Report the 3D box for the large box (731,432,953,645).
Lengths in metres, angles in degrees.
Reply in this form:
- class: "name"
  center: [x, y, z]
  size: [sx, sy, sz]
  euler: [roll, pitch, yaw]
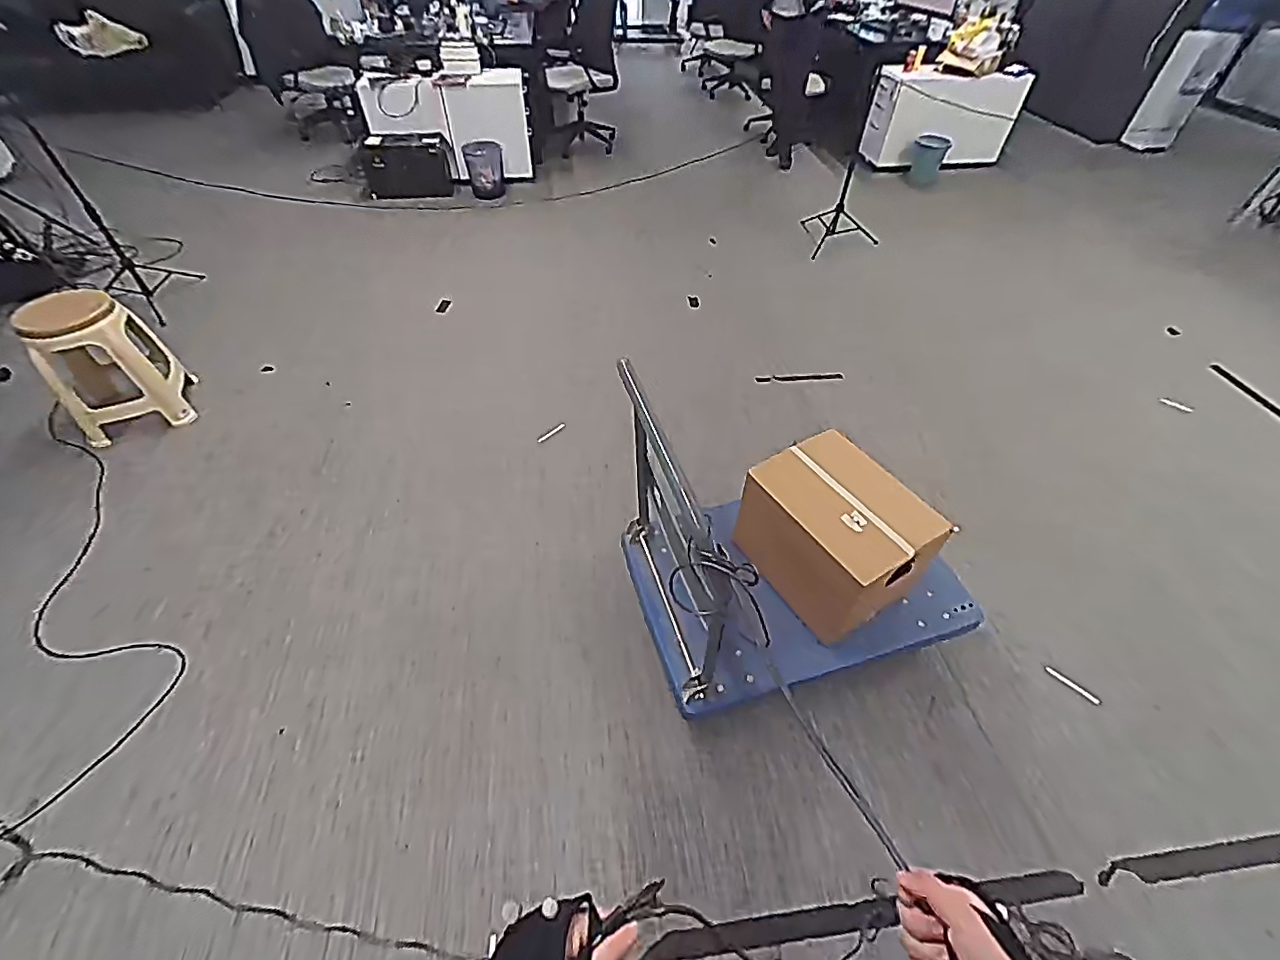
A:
- class: "large box"
  center: [0.500, 0.147, 1.436]
  size: [0.320, 0.320, 0.408]
  euler: [-25, 54, -21]
